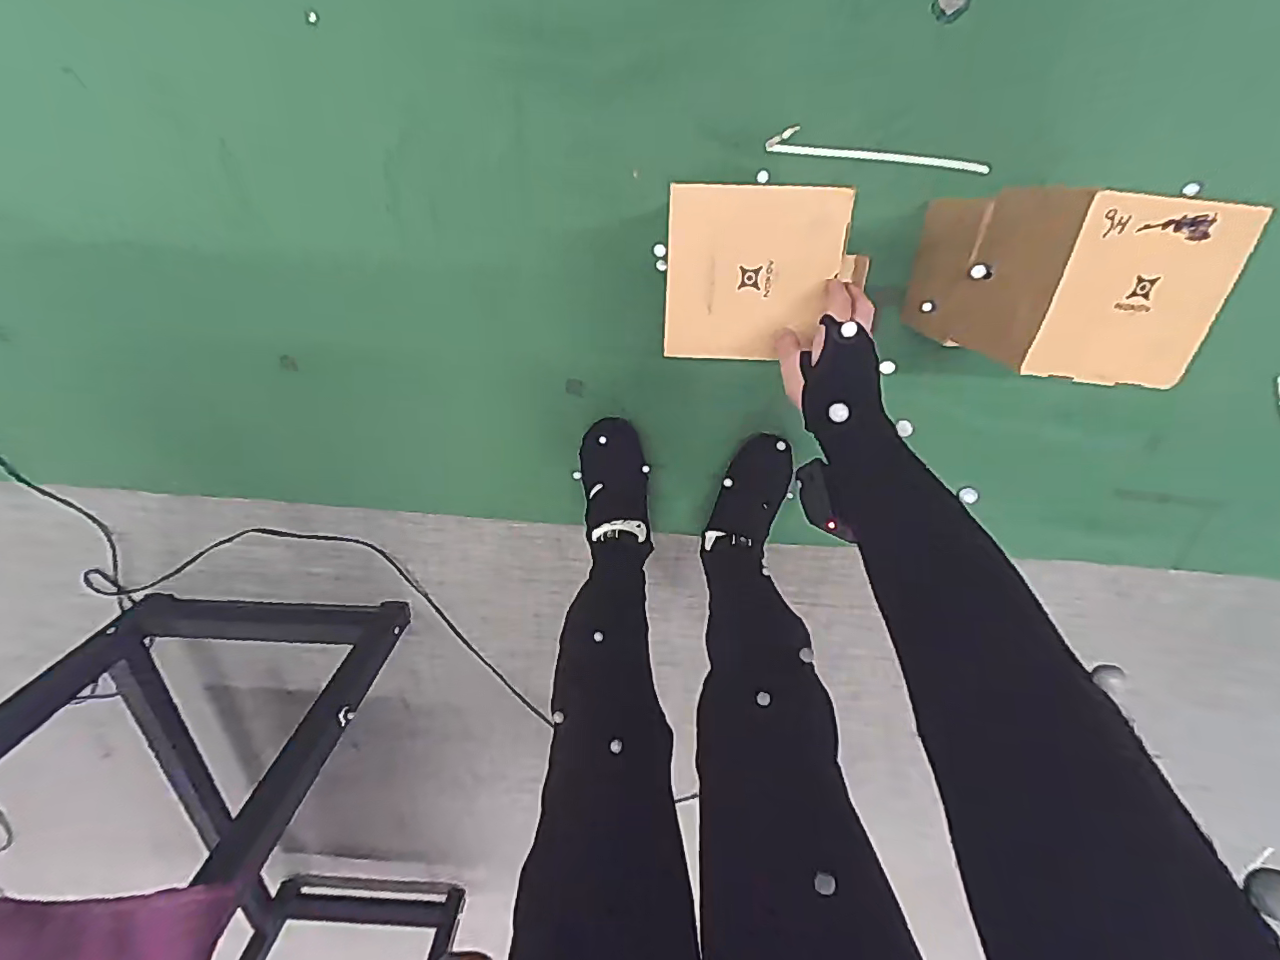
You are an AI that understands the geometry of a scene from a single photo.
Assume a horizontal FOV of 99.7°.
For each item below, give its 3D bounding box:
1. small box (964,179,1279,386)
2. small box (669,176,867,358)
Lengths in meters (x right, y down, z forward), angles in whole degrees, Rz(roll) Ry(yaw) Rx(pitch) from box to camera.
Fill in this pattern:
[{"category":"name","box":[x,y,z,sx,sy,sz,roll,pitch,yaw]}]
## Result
[{"category":"small box","box":[0.493,-0.221,0.592,0.168,0.176,0.179,6,119,-1]},{"category":"small box","box":[0.125,-0.240,0.606,0.179,0.176,0.168,3,116,2]}]
